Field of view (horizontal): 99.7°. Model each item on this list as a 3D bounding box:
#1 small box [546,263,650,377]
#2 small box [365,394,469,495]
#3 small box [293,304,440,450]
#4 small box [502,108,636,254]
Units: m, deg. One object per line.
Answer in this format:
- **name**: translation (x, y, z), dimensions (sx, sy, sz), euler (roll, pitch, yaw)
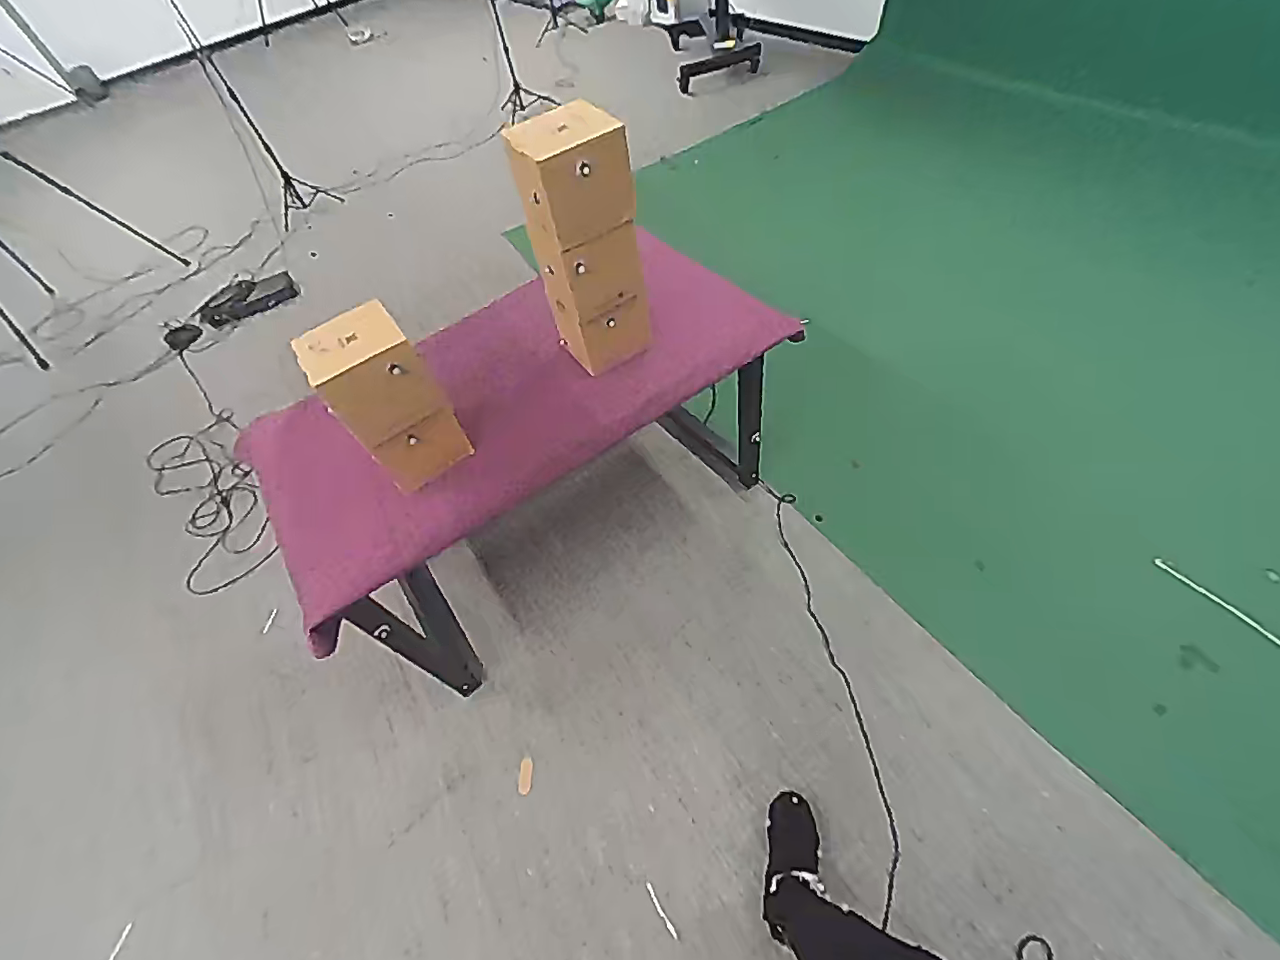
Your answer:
- **small box**: translation (-0.093, -0.375, 1.286), dimensions (0.179, 0.176, 0.168), euler (-31, 55, -13)
- **small box**: translation (-0.491, -0.103, 1.158), dimensions (0.179, 0.176, 0.168), euler (-35, 57, -15)
- **small box**: translation (-0.503, -0.192, 1.018), dimensions (0.179, 0.176, 0.168), euler (-34, 56, -14)
- **small box**: translation (-0.127, -0.556, 1.015), dimensions (0.179, 0.176, 0.168), euler (-29, 55, -12)
